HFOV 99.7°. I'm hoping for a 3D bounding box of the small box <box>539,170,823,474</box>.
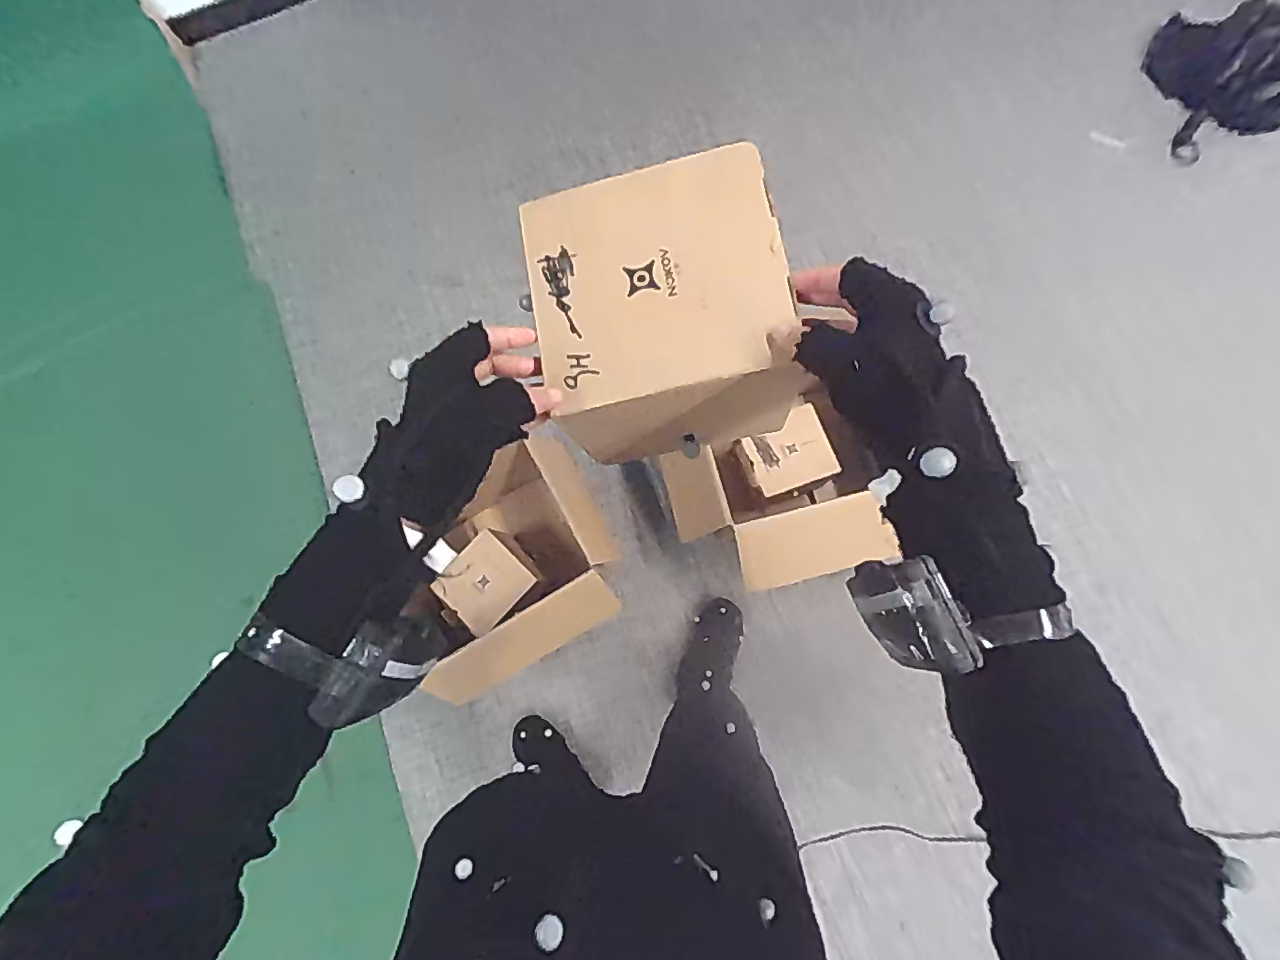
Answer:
[{"bbox_3d":[0.032,-0.113,0.456,0.179,0.176,0.168,-12,77,5],"label":"small box"}]
